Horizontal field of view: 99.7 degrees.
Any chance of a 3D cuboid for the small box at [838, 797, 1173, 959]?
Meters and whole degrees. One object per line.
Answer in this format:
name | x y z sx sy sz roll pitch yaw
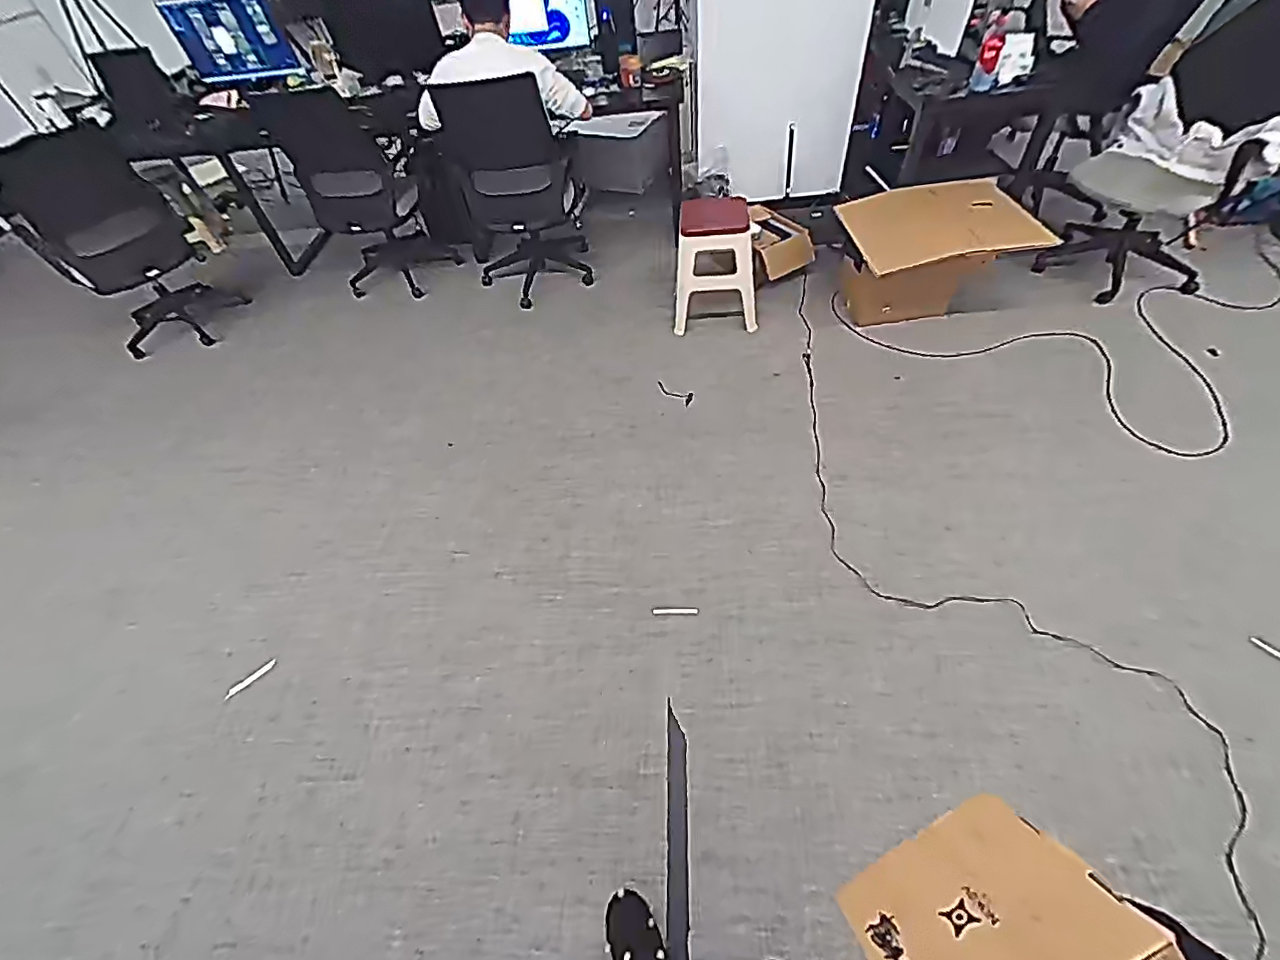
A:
small box | 0.301 0.411 0.430 0.179 0.168 0.176 -30 91 -3
